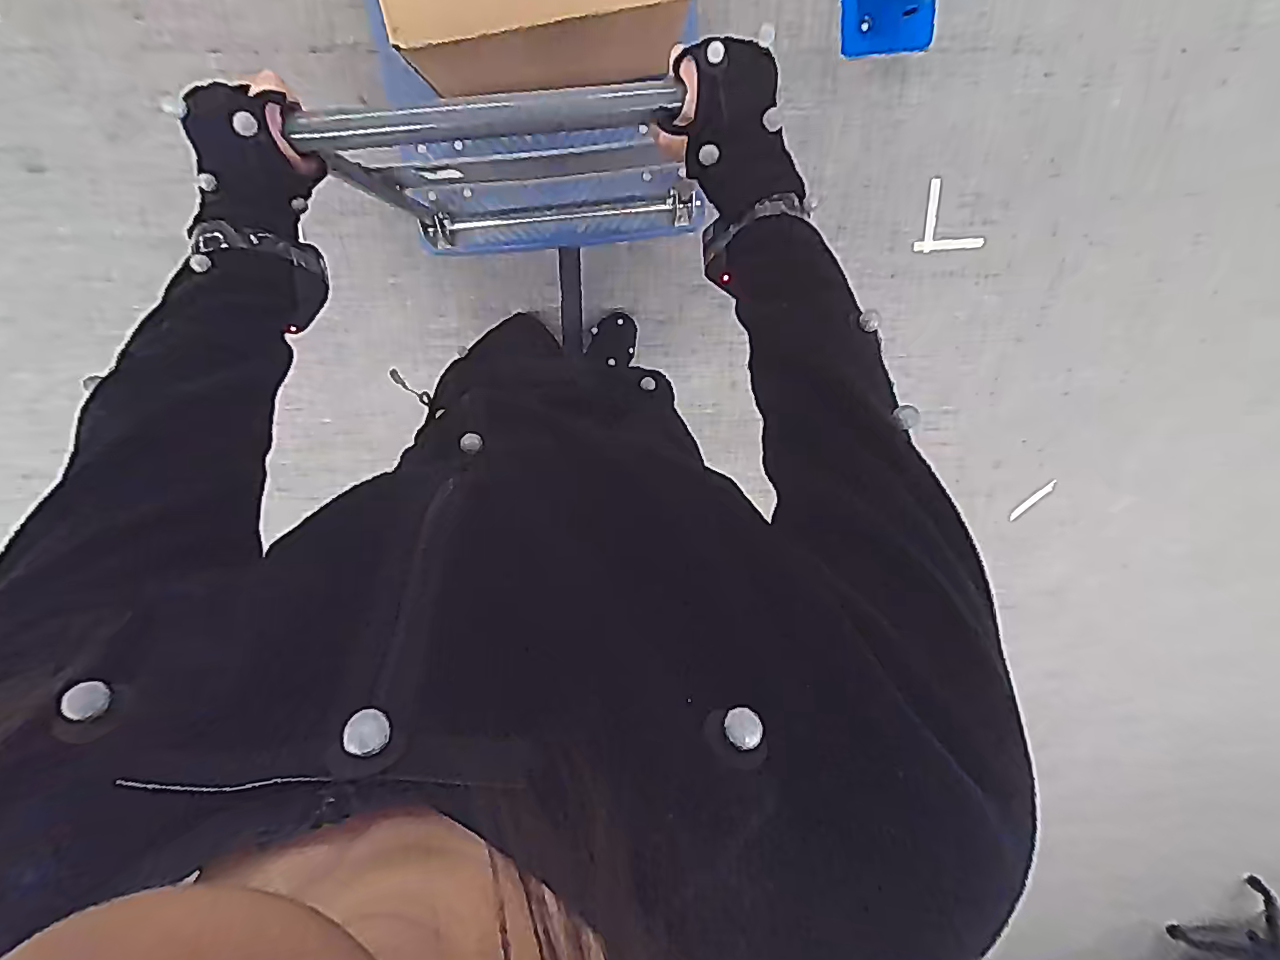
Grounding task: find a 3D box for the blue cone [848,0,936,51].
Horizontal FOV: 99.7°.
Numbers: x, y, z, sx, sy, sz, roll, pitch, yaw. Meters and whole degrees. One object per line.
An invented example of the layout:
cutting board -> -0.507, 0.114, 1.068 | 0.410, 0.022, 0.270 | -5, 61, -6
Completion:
blue cone -> 0.536, -0.957, 0.972 | 0.193, 0.380, 0.192 | -6, 110, -2
